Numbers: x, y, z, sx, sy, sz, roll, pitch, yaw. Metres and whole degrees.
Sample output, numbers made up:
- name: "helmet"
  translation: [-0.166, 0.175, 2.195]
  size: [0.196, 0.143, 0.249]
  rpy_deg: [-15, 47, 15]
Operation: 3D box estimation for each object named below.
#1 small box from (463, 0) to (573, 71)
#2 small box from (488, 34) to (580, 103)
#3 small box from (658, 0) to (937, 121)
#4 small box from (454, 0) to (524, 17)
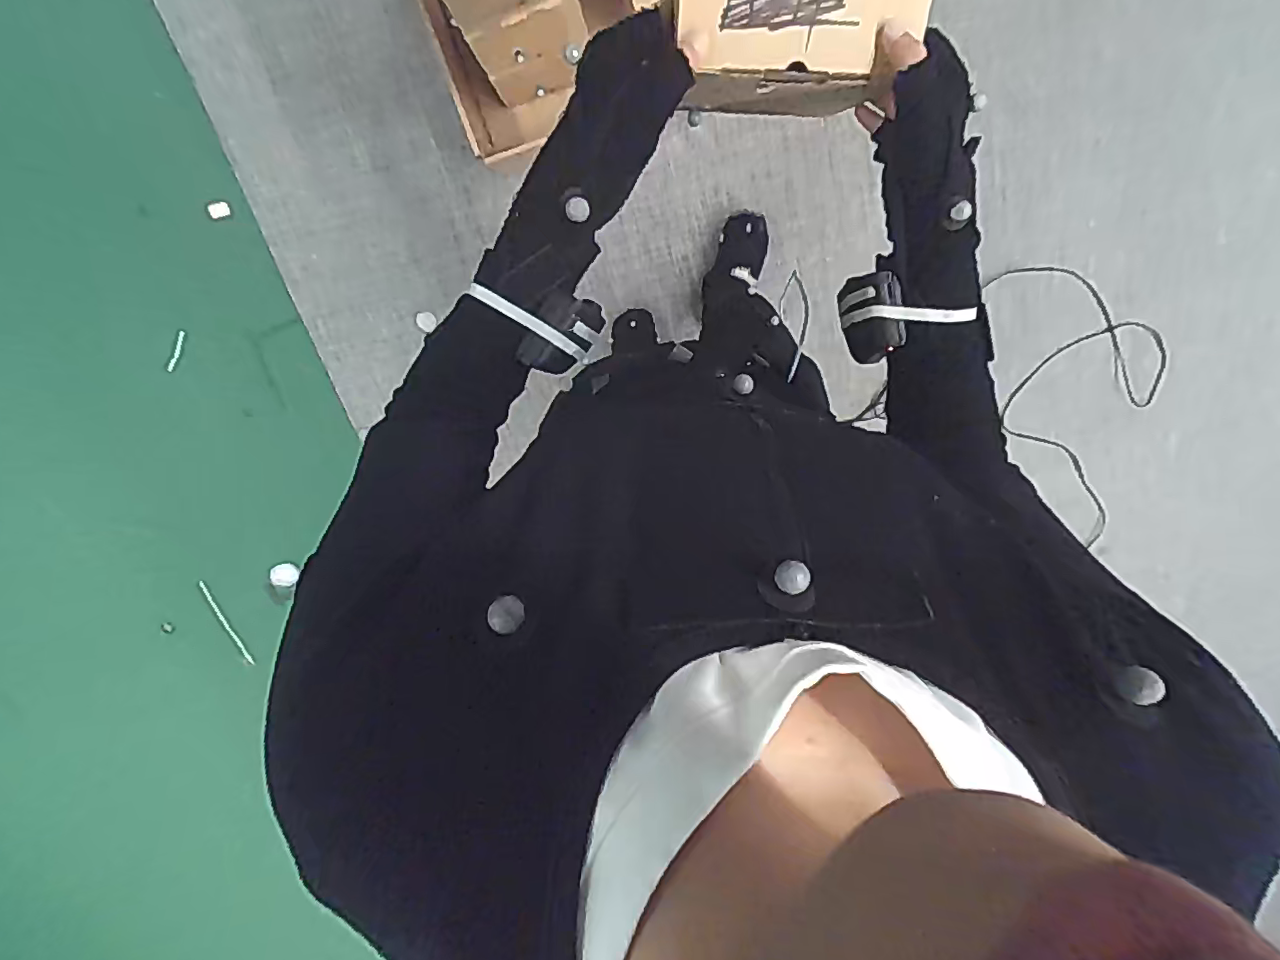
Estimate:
- name: "small box"
  translation: [-0.219, -0.831, 0.896]
  size: [0.168, 0.176, 0.179]
  rpy_deg: [-18, 108, 4]
- name: "small box"
  translation: [-0.223, -0.880, 1.051]
  size: [0.168, 0.176, 0.179]
  rpy_deg: [-16, 108, 4]
- name: "small box"
  translation: [0.108, -0.379, 0.393]
  size: [0.168, 0.176, 0.179]
  rpy_deg: [3, 117, -6]
- name: "small box"
  translation: [-0.218, -0.784, 0.739]
  size: [0.168, 0.176, 0.179]
  rpy_deg: [-19, 108, 4]
